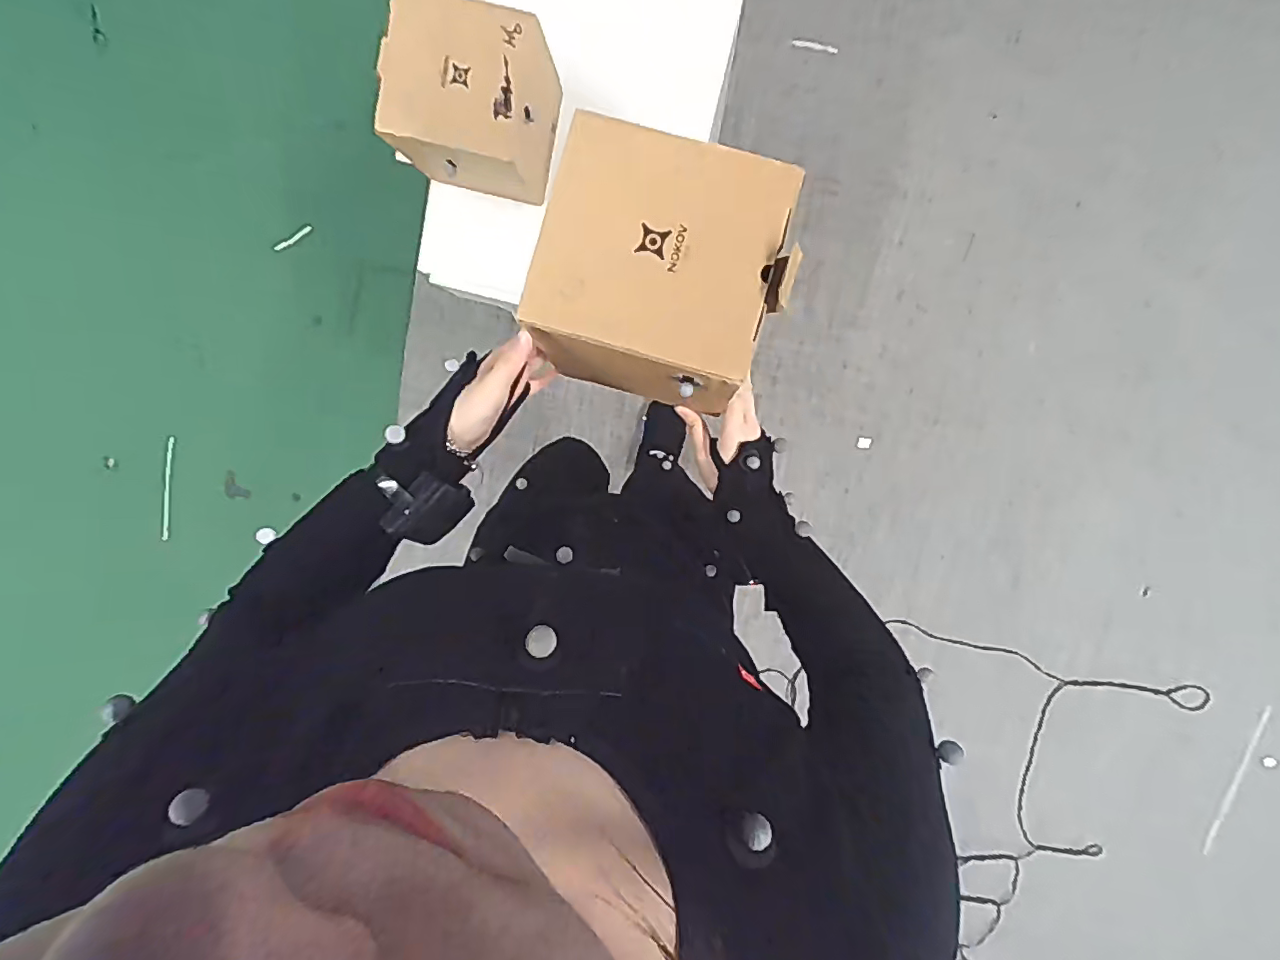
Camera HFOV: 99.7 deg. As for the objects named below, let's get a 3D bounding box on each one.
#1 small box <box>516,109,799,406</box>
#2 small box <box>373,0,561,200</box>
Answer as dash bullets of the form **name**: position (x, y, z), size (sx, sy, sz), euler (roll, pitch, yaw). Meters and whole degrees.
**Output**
- **small box**: position (0.015, -0.173, 0.476), size (0.179, 0.176, 0.168), euler (15, 88, 2)
- **small box**: position (-0.218, -0.495, 0.717), size (0.179, 0.176, 0.168), euler (13, 101, 0)
